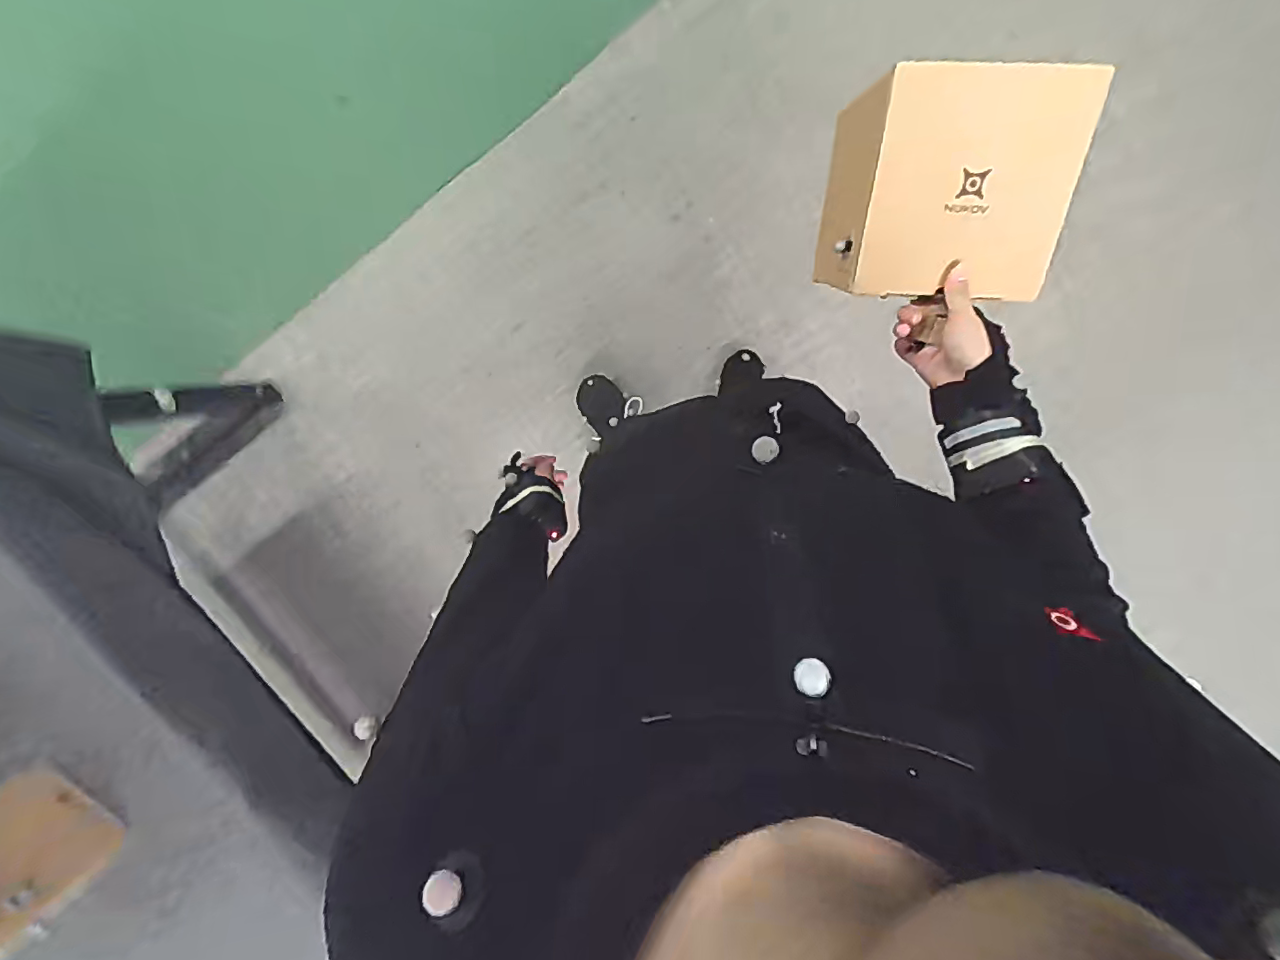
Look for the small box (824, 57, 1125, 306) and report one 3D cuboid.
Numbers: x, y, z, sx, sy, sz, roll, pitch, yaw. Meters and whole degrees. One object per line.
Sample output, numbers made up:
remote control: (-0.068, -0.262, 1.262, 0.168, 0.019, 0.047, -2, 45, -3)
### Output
small box: (0.288, -0.271, 0.518, 0.168, 0.176, 0.179, 4, 115, 3)
